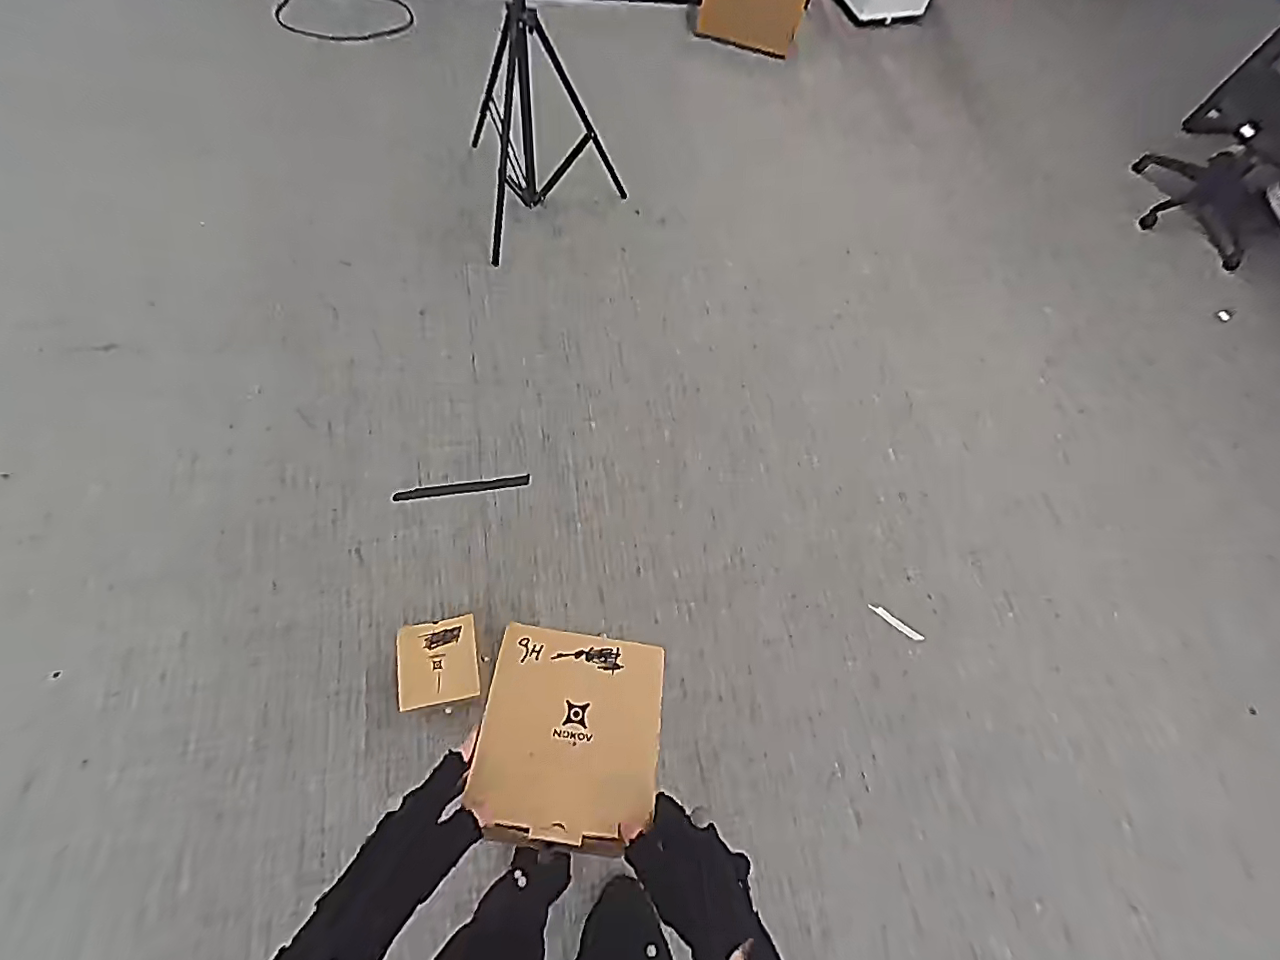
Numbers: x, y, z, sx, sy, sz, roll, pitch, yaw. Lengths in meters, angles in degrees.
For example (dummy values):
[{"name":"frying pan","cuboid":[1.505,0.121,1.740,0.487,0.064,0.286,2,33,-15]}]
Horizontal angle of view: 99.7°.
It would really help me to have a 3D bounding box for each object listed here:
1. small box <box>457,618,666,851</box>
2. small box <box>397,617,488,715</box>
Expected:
[{"name":"small box","cuboid":[-0.076,0.269,0.560,0.168,0.176,0.179,11,51,-5]},{"name":"small box","cuboid":[-0.442,0.426,1.225,0.168,0.176,0.179,-8,68,-11]}]
